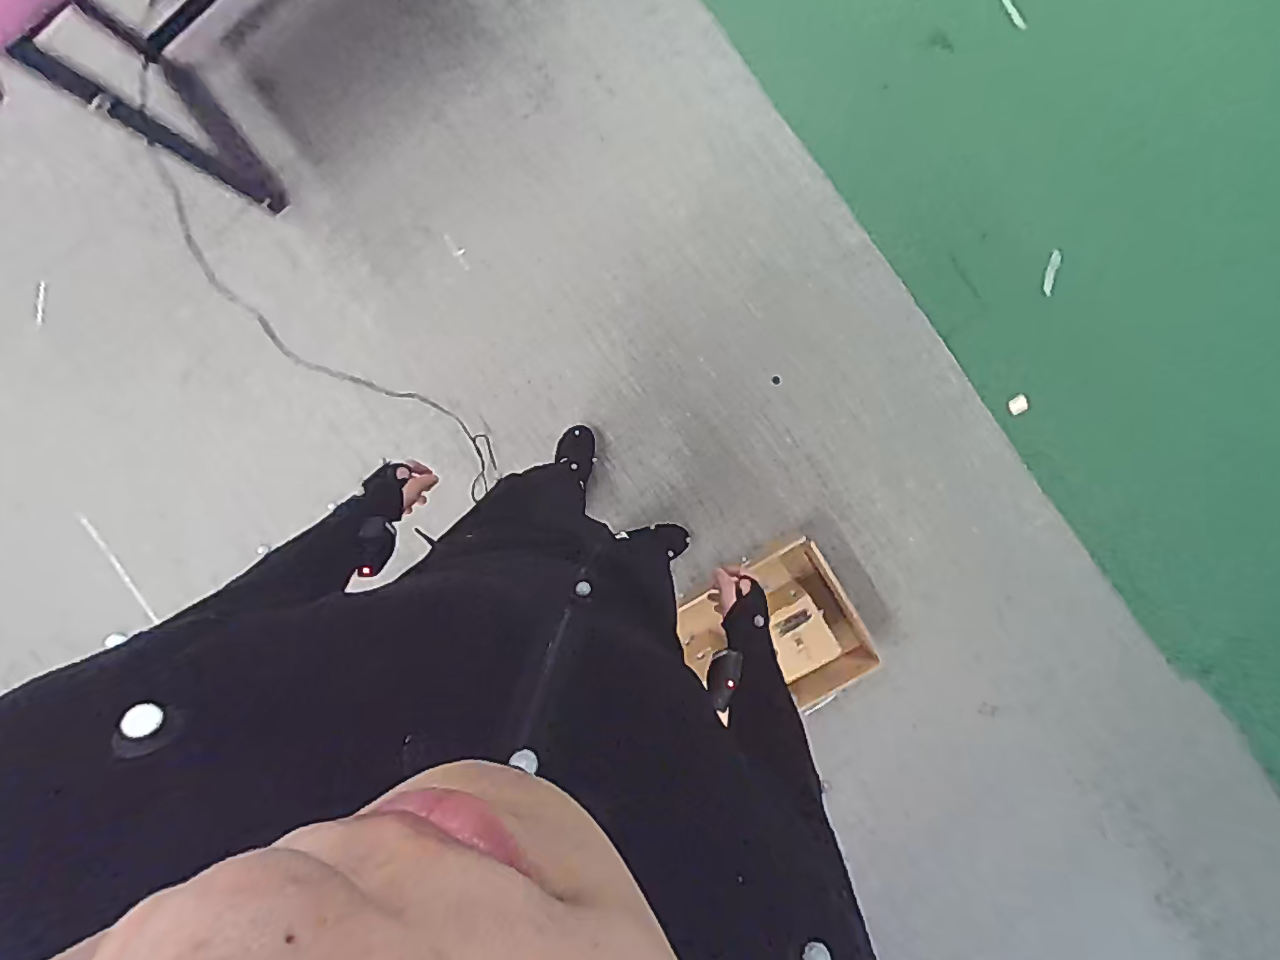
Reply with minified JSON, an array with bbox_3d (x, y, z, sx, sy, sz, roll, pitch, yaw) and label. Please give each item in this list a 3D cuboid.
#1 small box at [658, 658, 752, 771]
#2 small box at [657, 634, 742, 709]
[{"bbox_3d":[0.152,0.563,1.332,0.168,0.176,0.179,-29,92,4],"label":"small box"},{"bbox_3d":[0.162,0.557,1.495,0.168,0.176,0.179,-31,90,4],"label":"small box"}]
